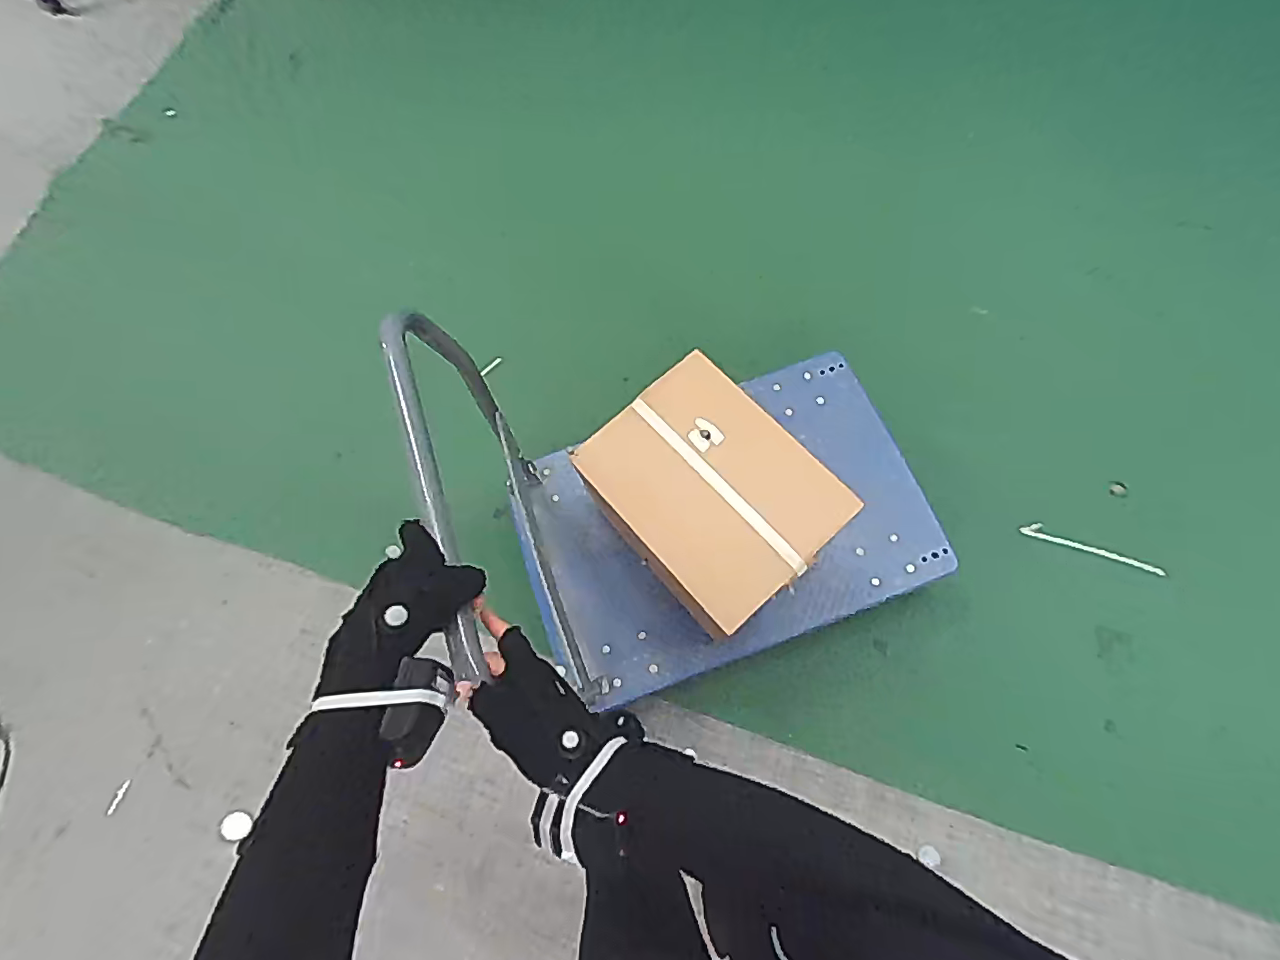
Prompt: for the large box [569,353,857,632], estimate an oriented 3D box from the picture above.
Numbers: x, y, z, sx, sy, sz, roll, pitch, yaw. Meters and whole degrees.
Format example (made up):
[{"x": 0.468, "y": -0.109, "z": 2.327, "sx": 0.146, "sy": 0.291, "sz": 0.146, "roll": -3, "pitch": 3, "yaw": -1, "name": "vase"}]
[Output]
[{"x": 0.130, "y": 0.043, "z": 1.059, "sx": 0.320, "sy": 0.320, "sz": 0.408, "roll": -40, "pitch": 73, "yaw": -9, "name": "large box"}]
